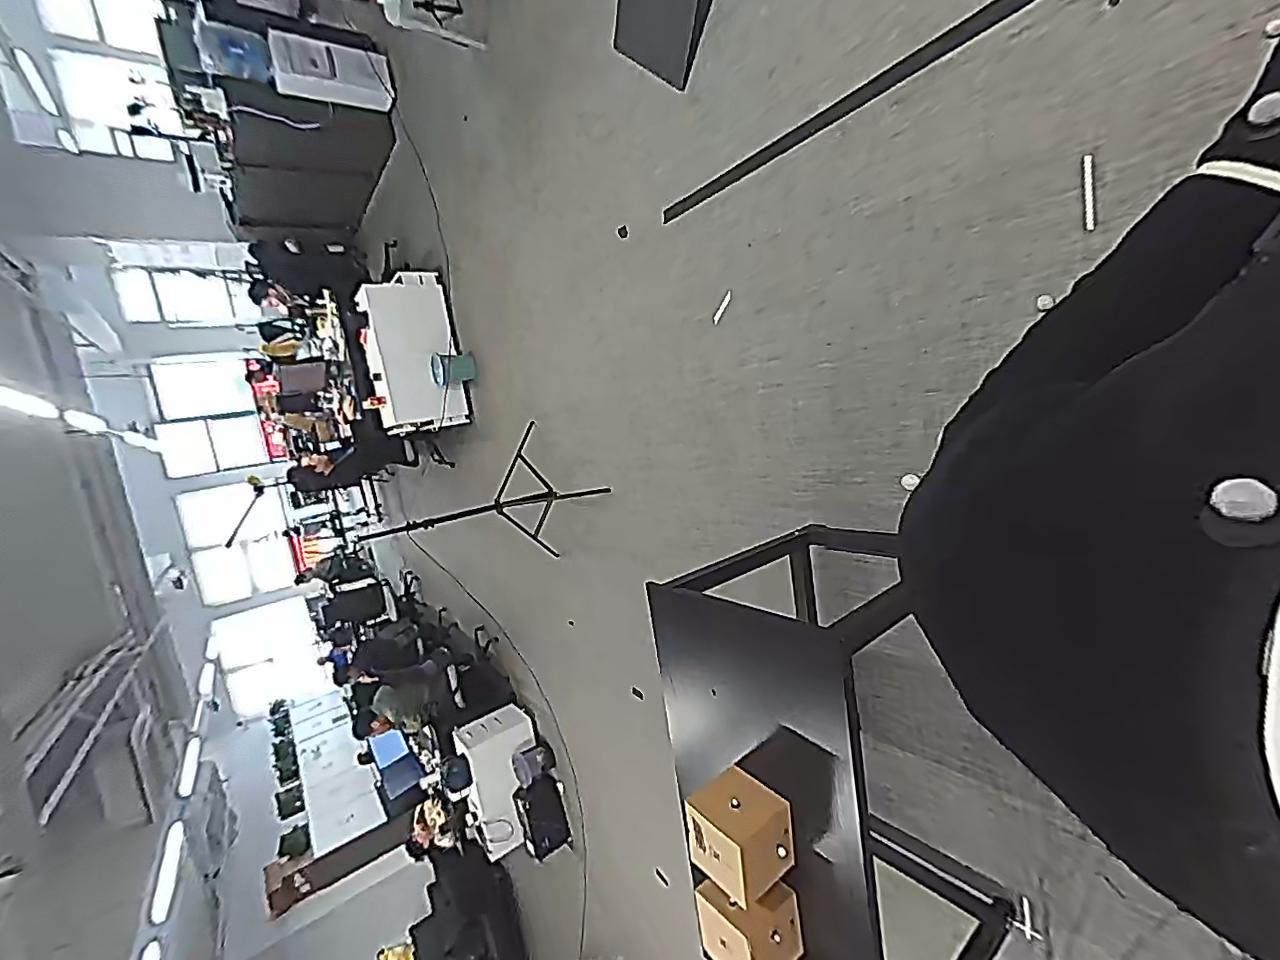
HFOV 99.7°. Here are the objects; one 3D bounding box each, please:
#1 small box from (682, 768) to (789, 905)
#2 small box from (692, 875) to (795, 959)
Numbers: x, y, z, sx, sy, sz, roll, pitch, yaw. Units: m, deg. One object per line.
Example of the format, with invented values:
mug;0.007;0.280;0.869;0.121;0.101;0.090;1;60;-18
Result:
small box;0.219;0.799;1.239;0.179;0.176;0.168;8;109;52
small box;0.251;1.042;1.286;0.179;0.176;0.168;1;102;55
